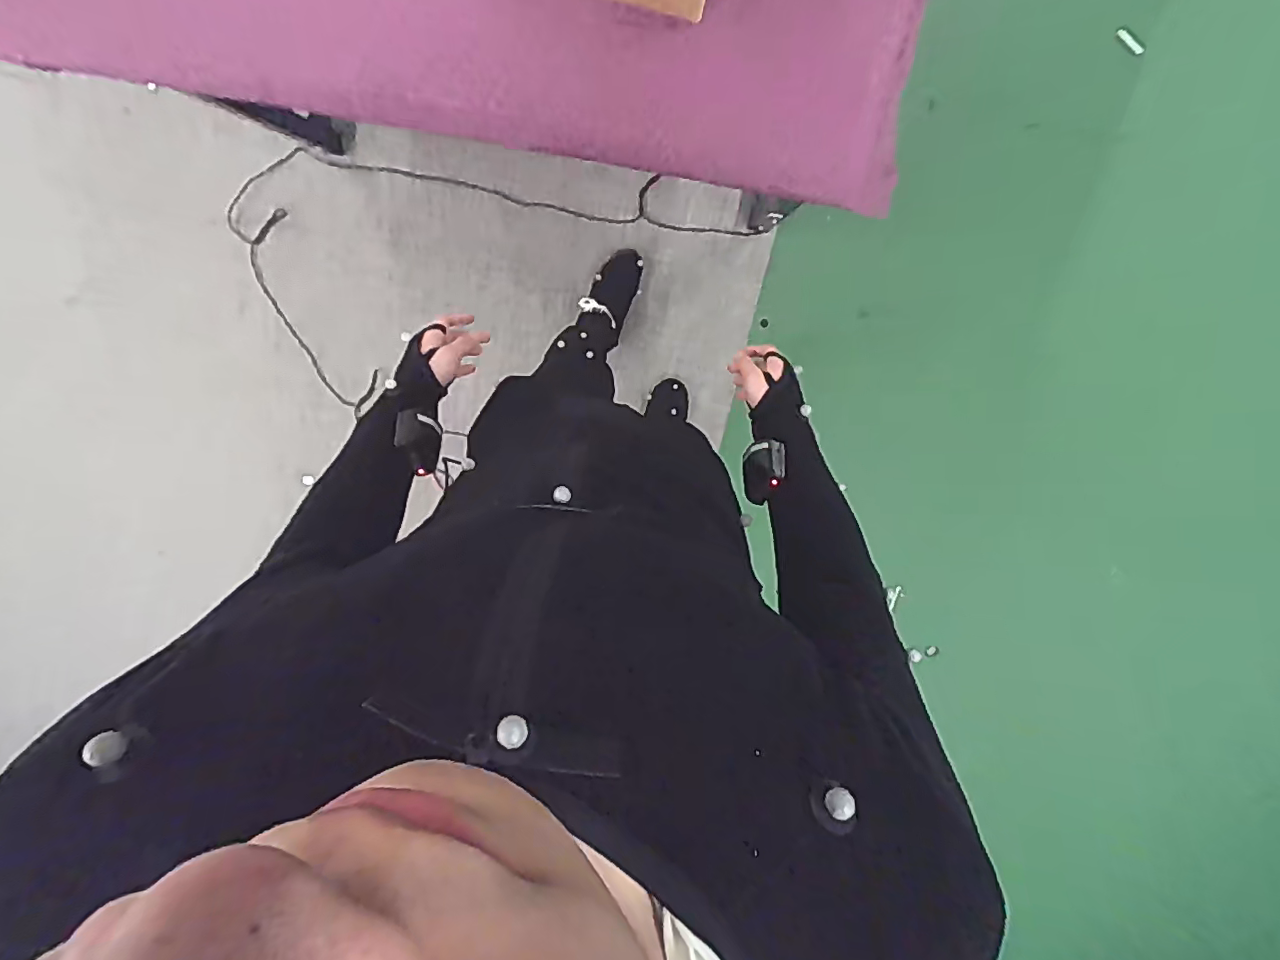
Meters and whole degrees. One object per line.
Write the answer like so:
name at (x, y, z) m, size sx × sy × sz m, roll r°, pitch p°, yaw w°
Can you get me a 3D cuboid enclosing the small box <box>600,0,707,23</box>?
small box at (0.012, -0.641, 0.583) m, size 0.179 × 0.176 × 0.168 m, roll 15°, pitch 108°, yaw -1°
